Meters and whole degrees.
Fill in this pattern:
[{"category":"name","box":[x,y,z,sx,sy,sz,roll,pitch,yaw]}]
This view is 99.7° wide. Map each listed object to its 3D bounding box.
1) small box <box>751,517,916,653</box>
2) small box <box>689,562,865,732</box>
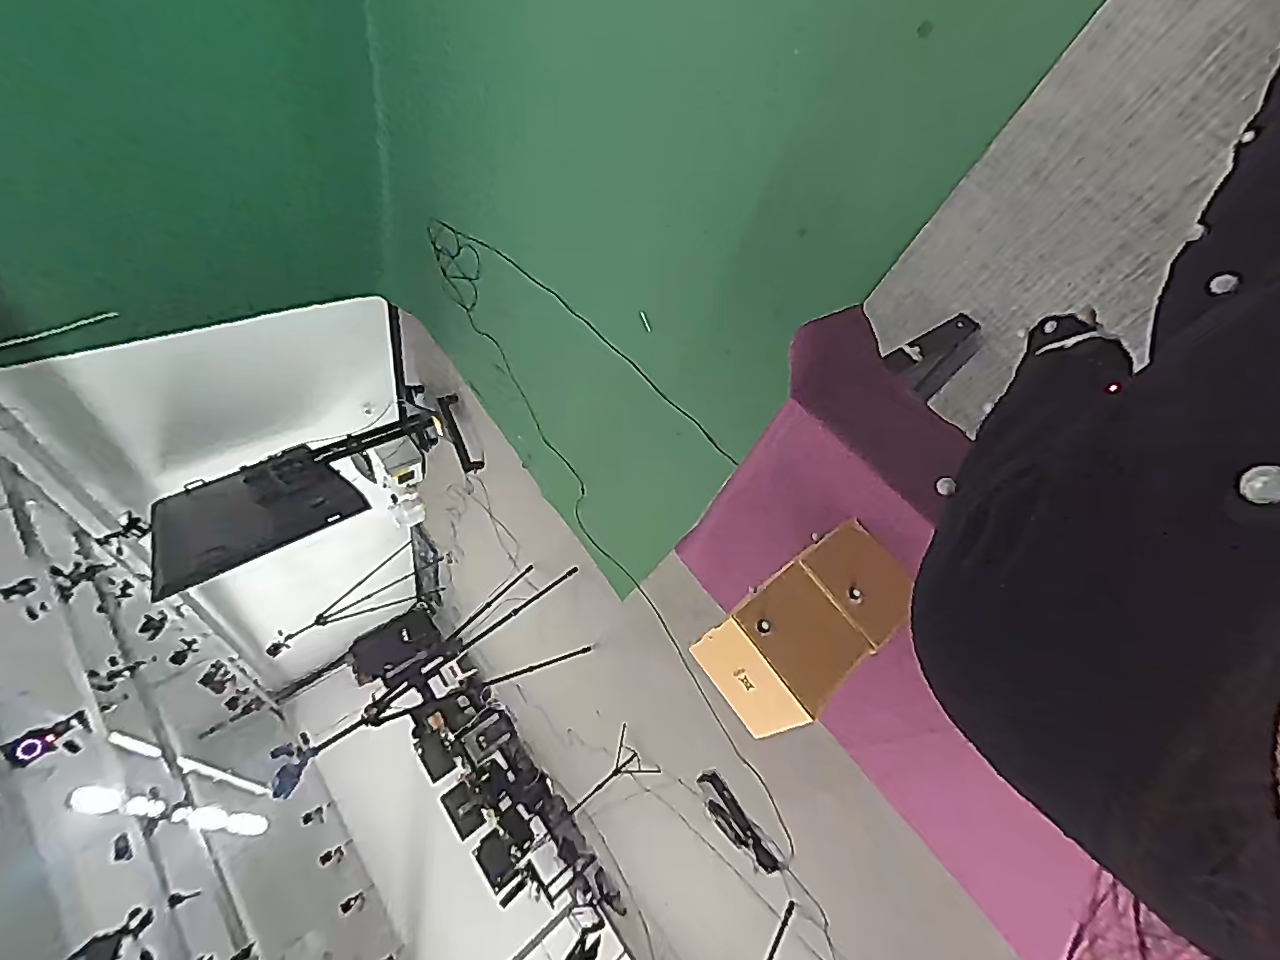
[{"category":"small box","box":[0.338,0.196,0.947,0.179,0.176,0.168,53,145,14]},{"category":"small box","box":[0.217,0.263,0.862,0.179,0.176,0.168,52,145,16]}]
